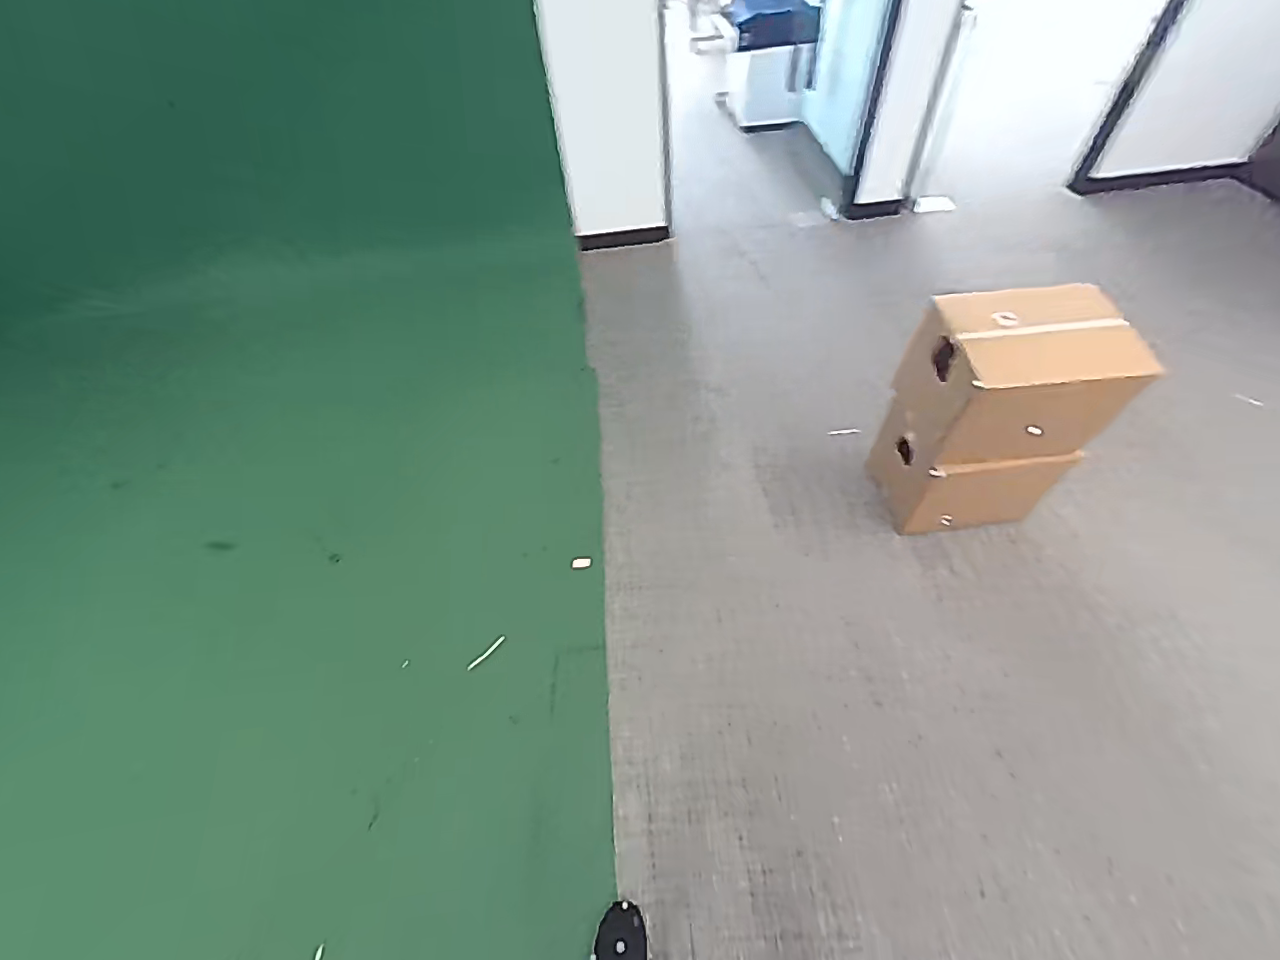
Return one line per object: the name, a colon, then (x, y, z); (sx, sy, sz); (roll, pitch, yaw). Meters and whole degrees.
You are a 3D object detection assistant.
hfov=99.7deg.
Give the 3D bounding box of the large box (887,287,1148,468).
large box: (0.929, -0.256, 1.400); (0.408, 0.320, 0.320); (-6, 56, 1)
